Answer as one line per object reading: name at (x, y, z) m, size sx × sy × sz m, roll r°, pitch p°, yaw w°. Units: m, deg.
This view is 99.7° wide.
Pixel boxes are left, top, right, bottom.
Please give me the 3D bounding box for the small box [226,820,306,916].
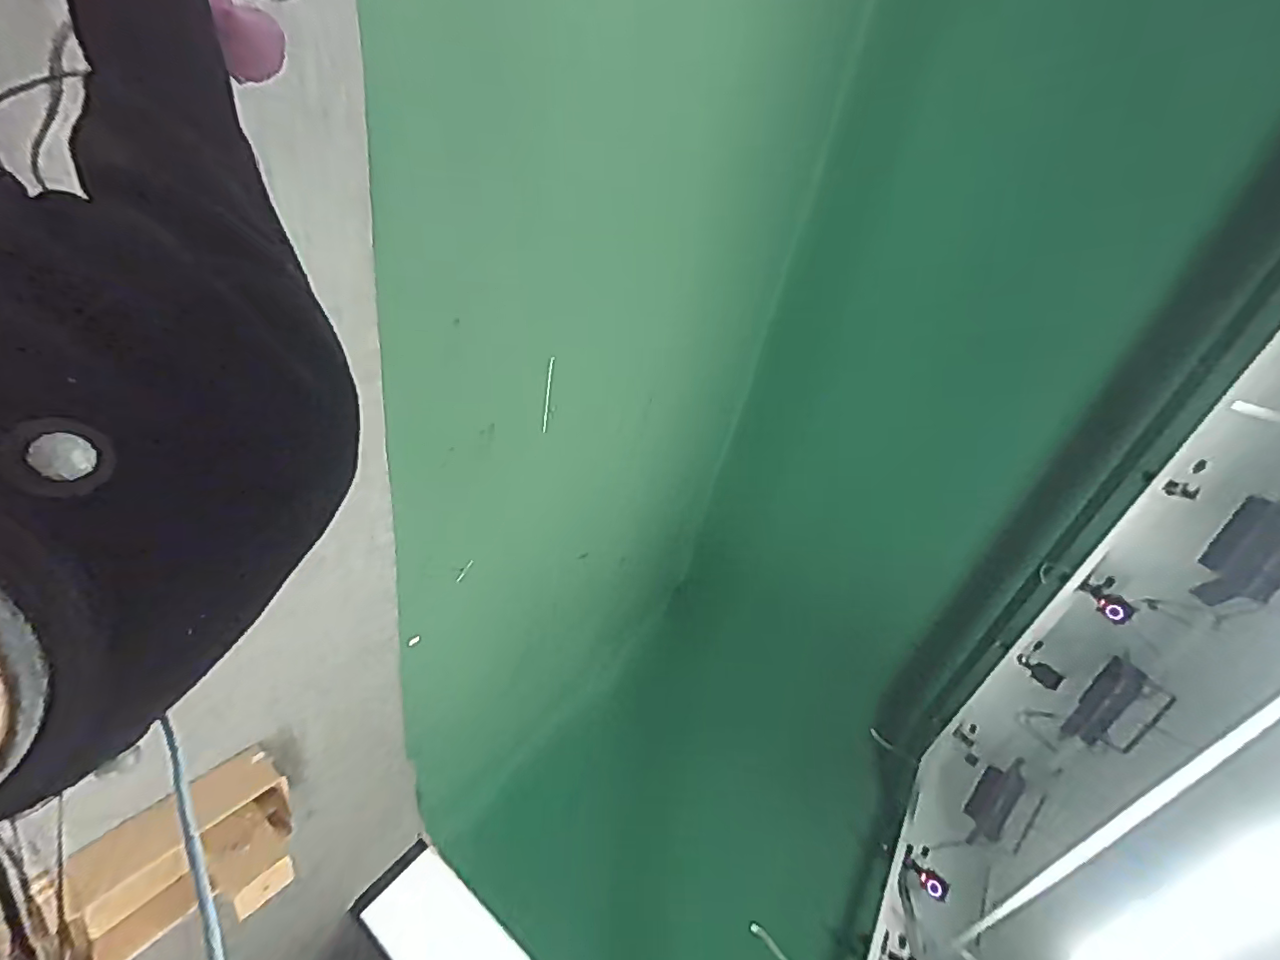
small box at (-1.271, 1.312, 1.839) m, size 0.168 × 0.176 × 0.179 m, roll -27°, pitch 138°, yaw -51°
